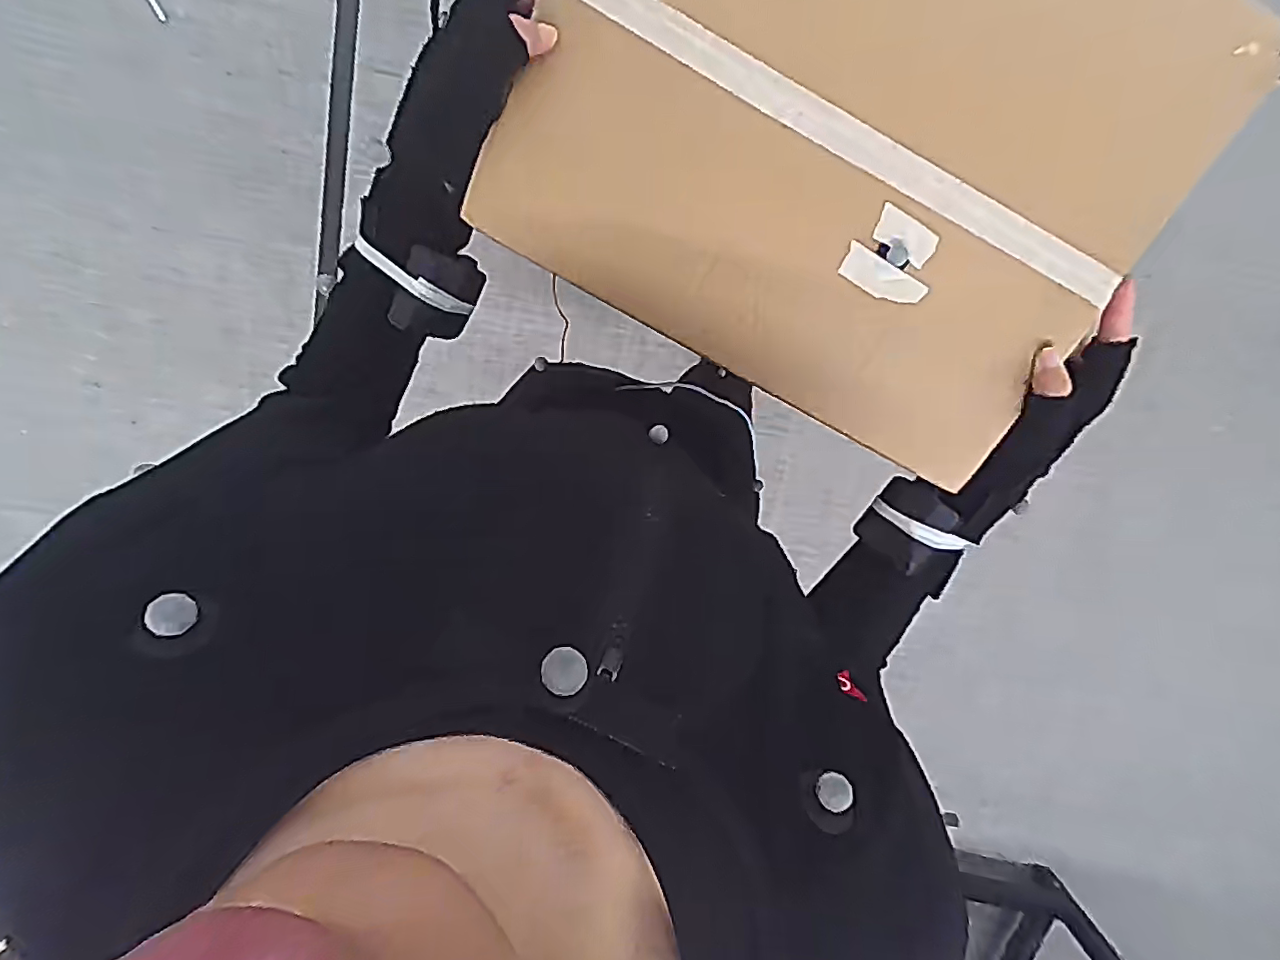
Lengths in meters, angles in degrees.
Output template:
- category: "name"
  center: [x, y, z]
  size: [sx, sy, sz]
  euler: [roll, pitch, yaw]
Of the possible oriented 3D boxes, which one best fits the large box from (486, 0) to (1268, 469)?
- category: "large box"
  center: [0.142, -0.268, 0.493]
  size: [0.408, 0.320, 0.320]
  euler: [28, 109, -5]
